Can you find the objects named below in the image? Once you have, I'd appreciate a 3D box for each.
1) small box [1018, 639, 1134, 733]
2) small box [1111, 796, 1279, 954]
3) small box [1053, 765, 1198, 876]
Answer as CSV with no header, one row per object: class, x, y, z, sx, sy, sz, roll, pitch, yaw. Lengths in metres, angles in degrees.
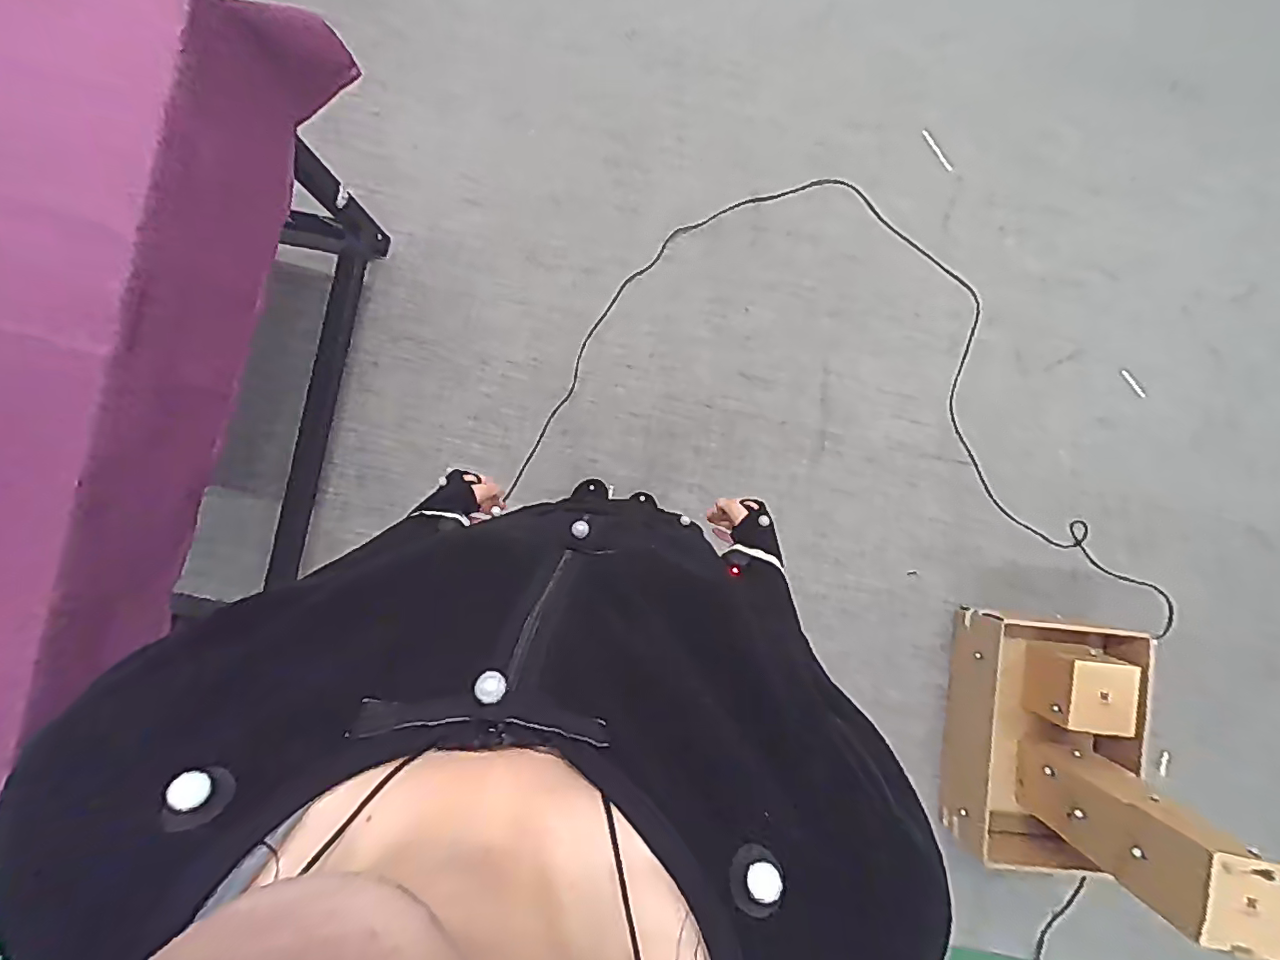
small box,1.128,0.529,1.412,0.168,0.176,0.179,7,90,0
small box,1.099,0.777,1.079,0.168,0.176,0.179,12,89,-1
small box,1.108,0.783,1.245,0.179,0.176,0.168,8,88,-1
